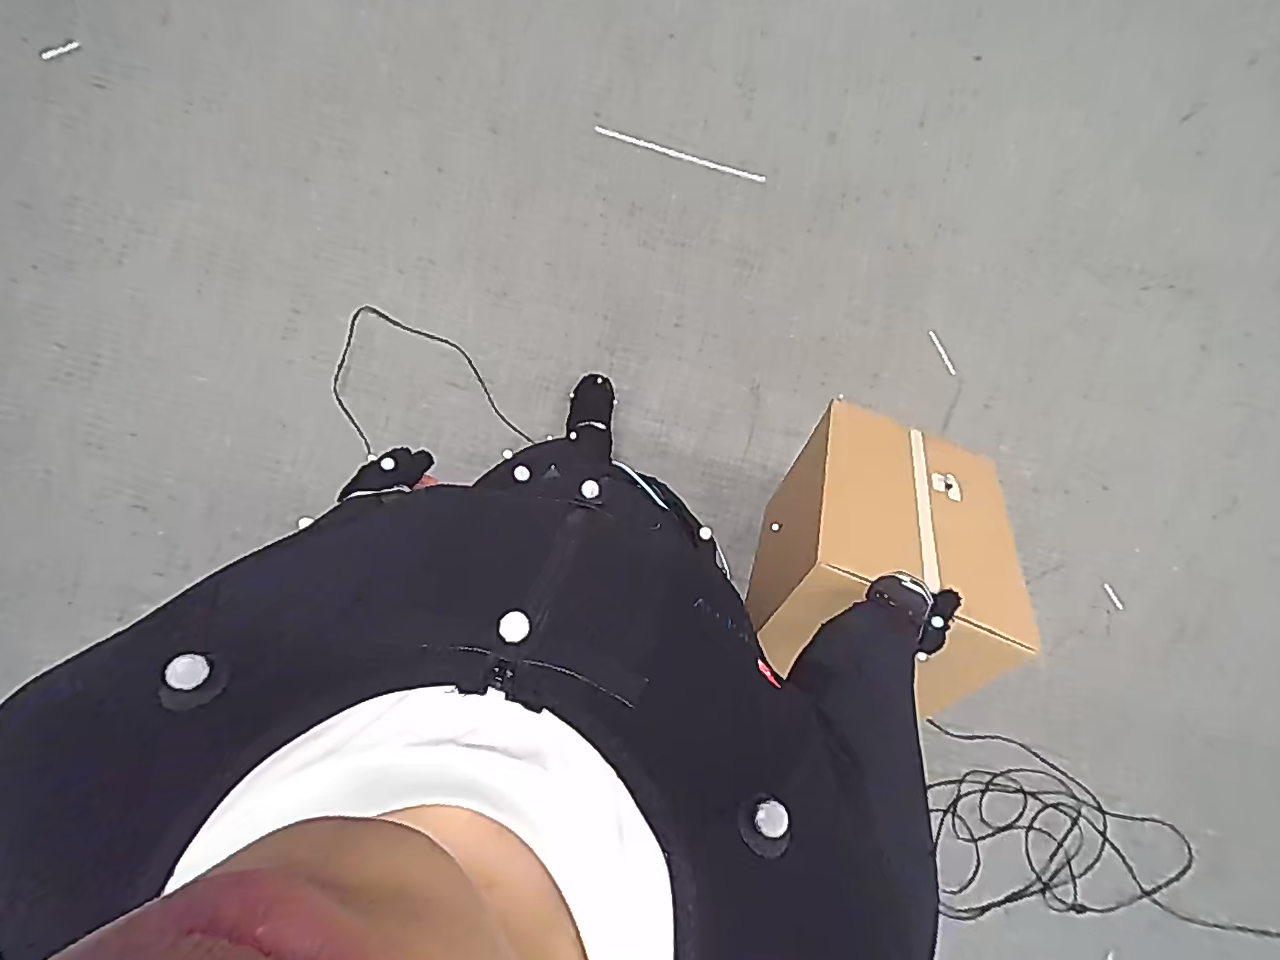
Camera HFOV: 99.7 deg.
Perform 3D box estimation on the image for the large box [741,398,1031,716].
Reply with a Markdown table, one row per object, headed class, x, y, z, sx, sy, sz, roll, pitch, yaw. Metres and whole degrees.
| class | x | y | z | sx | sy | sz | roll | pitch | yaw |
| --- | --- | --- | --- | --- | --- | --- | --- | --- | --- |
| large box | 0.402 | 0.130 | 0.965 | 0.320 | 0.408 | 0.320 | 23 | 135 | 2 |
